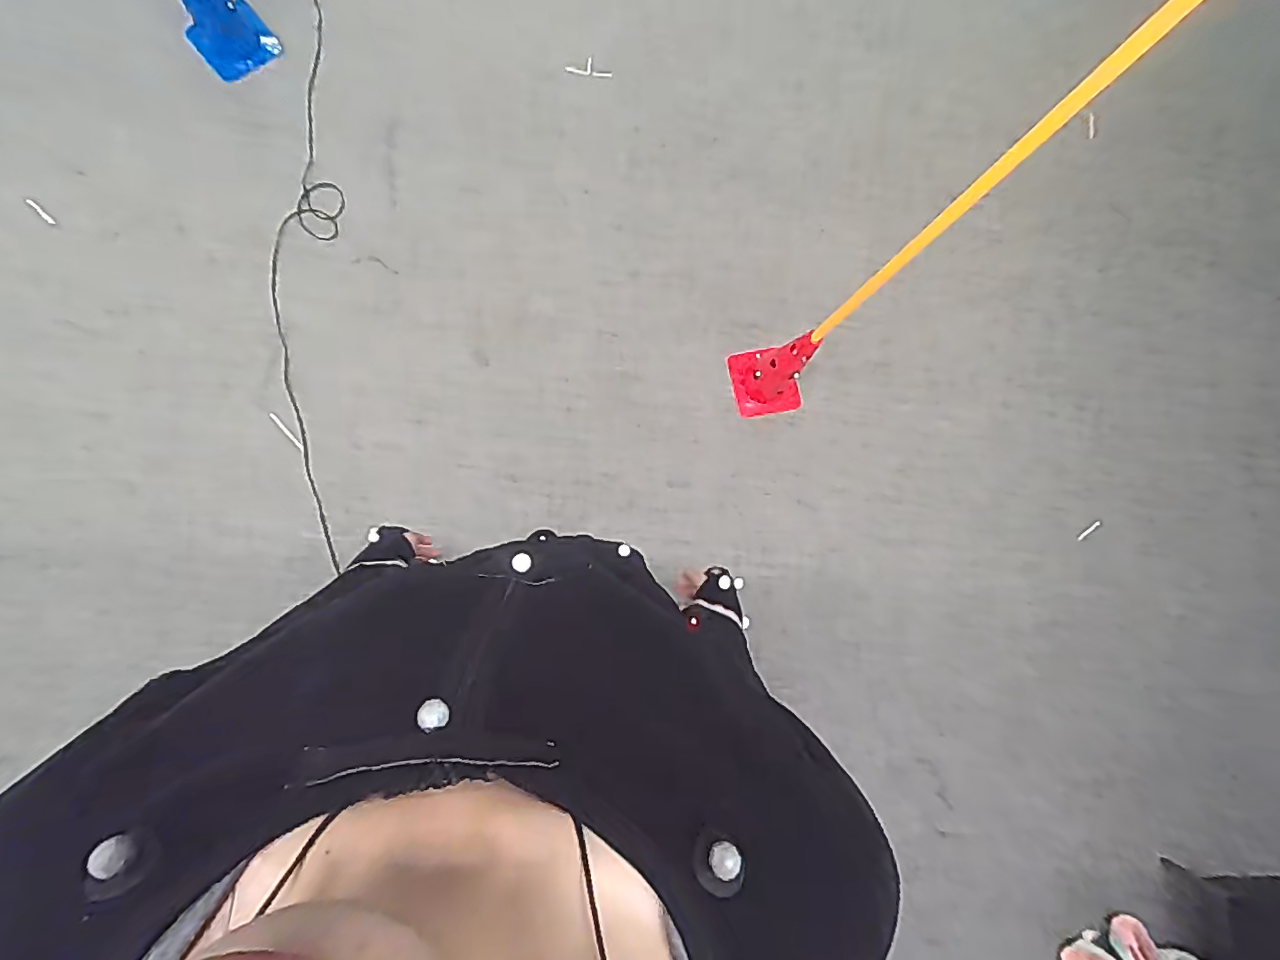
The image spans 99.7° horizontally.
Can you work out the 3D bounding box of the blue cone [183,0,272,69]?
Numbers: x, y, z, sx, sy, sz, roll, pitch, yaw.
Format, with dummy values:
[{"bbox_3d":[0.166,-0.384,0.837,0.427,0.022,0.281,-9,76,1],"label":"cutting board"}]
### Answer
[{"bbox_3d":[-1.145,-1.281,1.364,0.193,0.380,0.192,-41,91,-7],"label":"blue cone"}]
